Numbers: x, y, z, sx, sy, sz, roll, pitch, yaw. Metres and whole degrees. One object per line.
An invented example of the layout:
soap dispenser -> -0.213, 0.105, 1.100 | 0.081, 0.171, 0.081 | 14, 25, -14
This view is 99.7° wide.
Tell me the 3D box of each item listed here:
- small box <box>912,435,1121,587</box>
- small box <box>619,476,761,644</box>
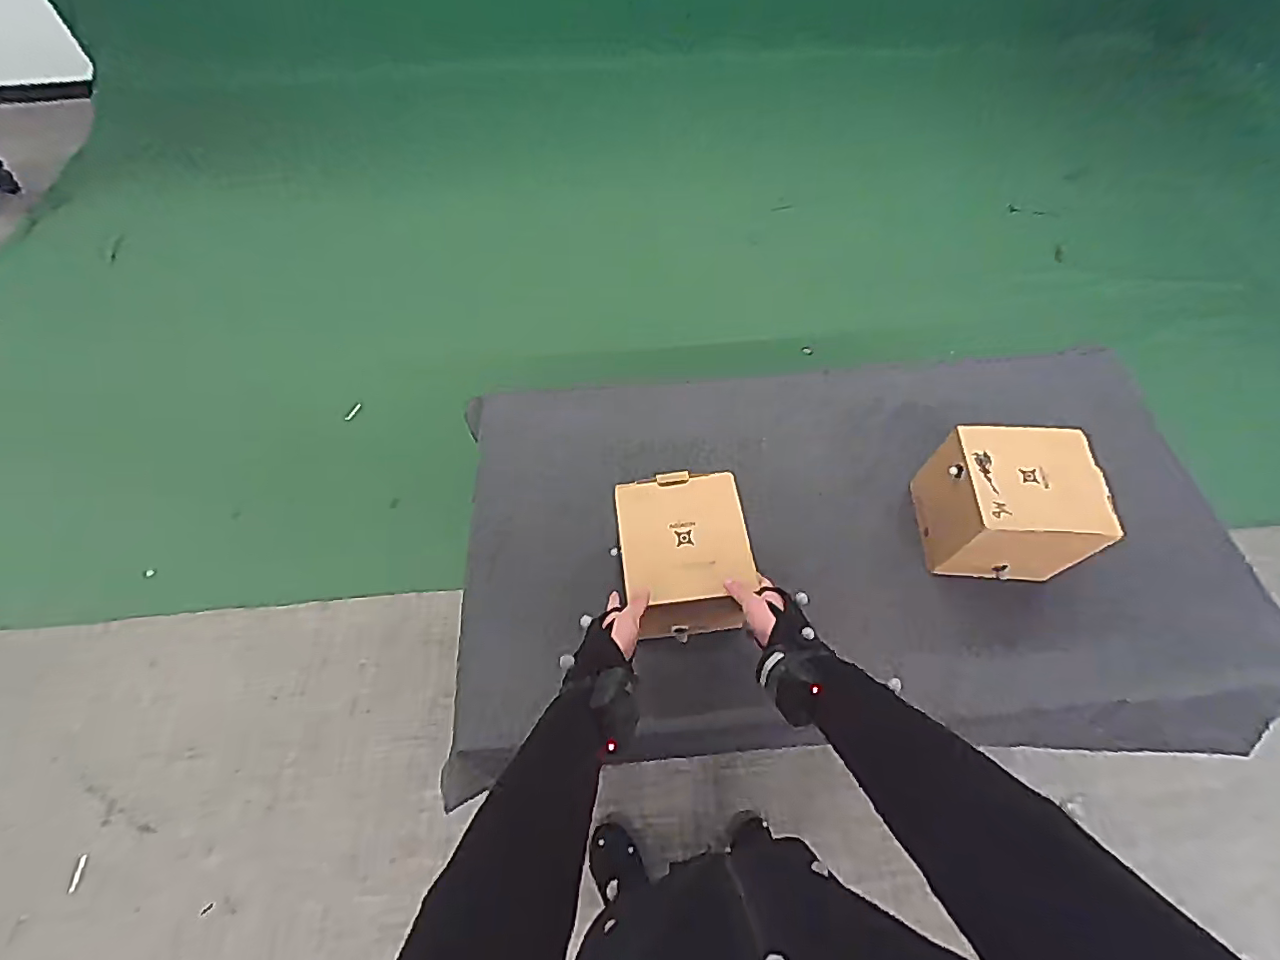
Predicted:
small box -> 0.536, 0.052, 0.800 | 0.179, 0.176, 0.168 | 4, 60, 2
small box -> 0.059, 0.115, 0.752 | 0.168, 0.176, 0.179 | -6, 60, 0
